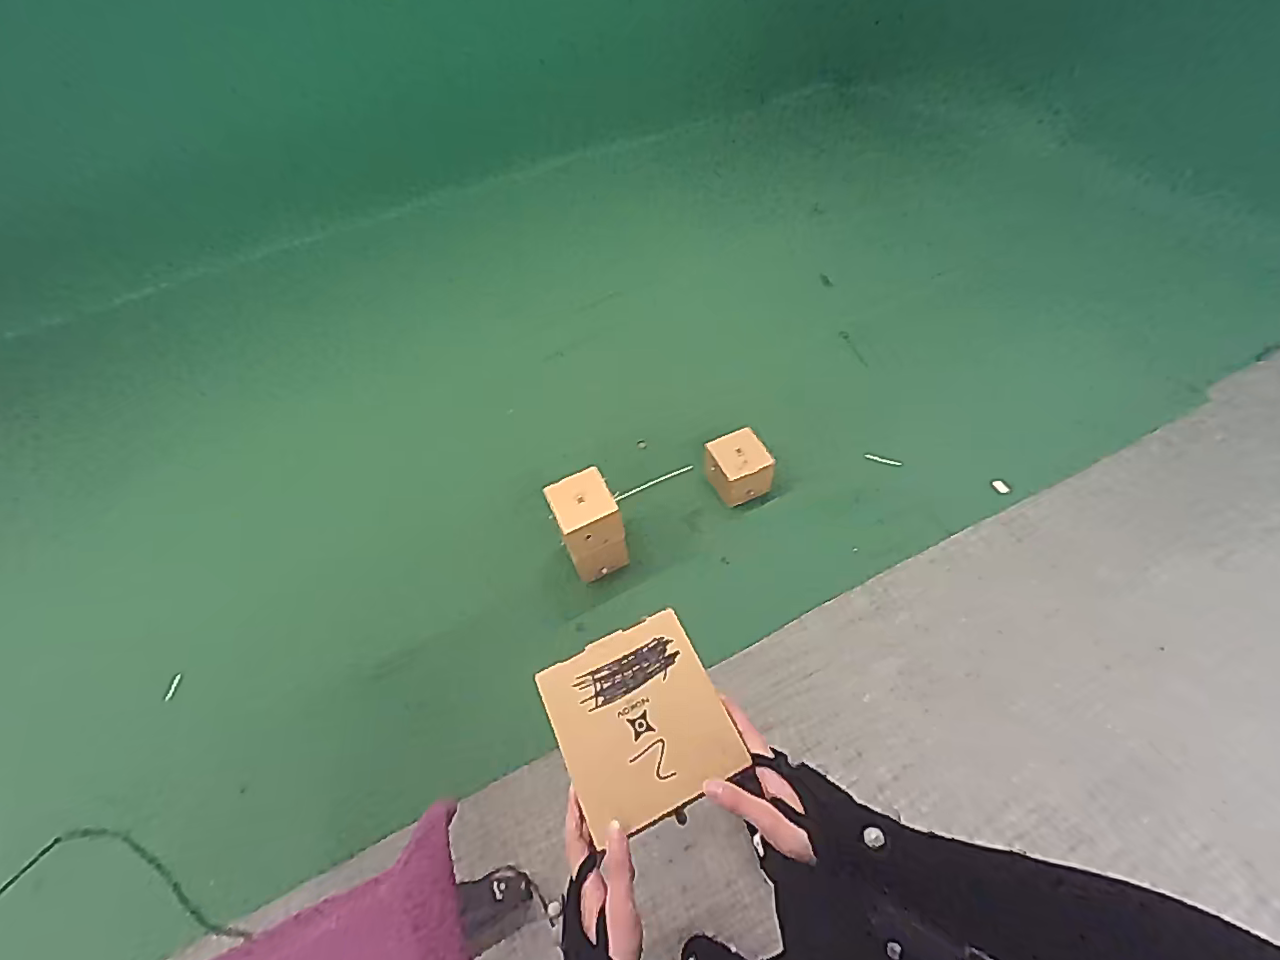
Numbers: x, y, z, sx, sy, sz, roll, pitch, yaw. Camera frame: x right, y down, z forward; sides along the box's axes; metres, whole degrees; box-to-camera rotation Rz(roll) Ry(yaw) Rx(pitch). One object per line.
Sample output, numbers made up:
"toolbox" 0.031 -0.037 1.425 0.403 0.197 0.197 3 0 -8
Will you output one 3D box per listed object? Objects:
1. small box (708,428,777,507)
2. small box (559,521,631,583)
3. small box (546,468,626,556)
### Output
"small box" 0.340 -0.039 1.838 0.168 0.176 0.179 -22 56 -10
"small box" -0.142 0.196 1.722 0.168 0.176 0.179 -24 57 -10
"small box" -0.154 0.102 1.592 0.168 0.176 0.179 -25 55 -11
